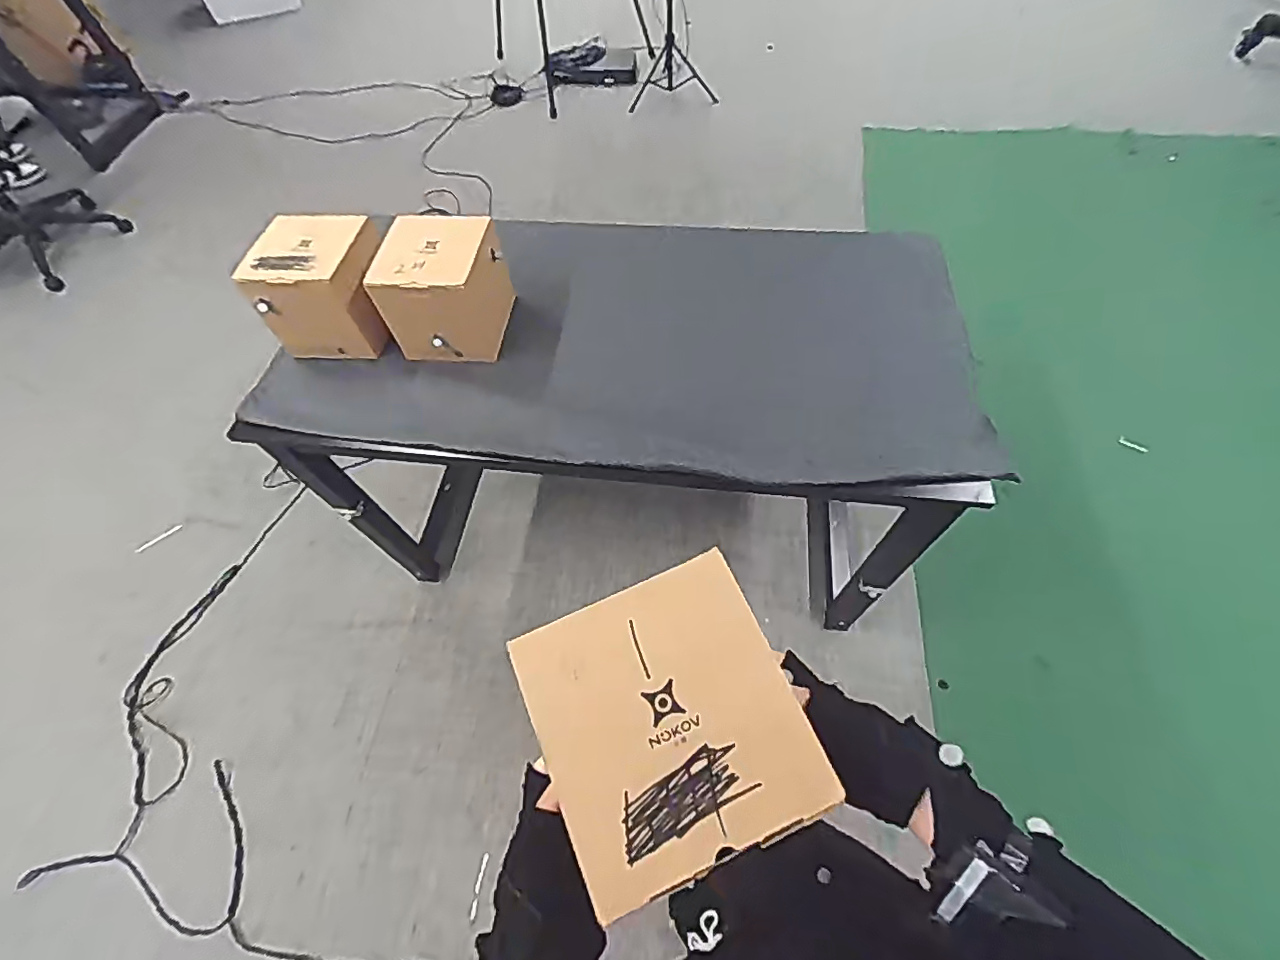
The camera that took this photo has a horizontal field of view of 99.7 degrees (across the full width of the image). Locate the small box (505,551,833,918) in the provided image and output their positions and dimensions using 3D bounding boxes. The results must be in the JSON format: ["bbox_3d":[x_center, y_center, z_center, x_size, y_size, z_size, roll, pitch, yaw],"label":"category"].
[{"bbox_3d":[0.016,0.182,0.425,0.168,0.176,0.179,-22,68,-7],"label":"small box"}]
